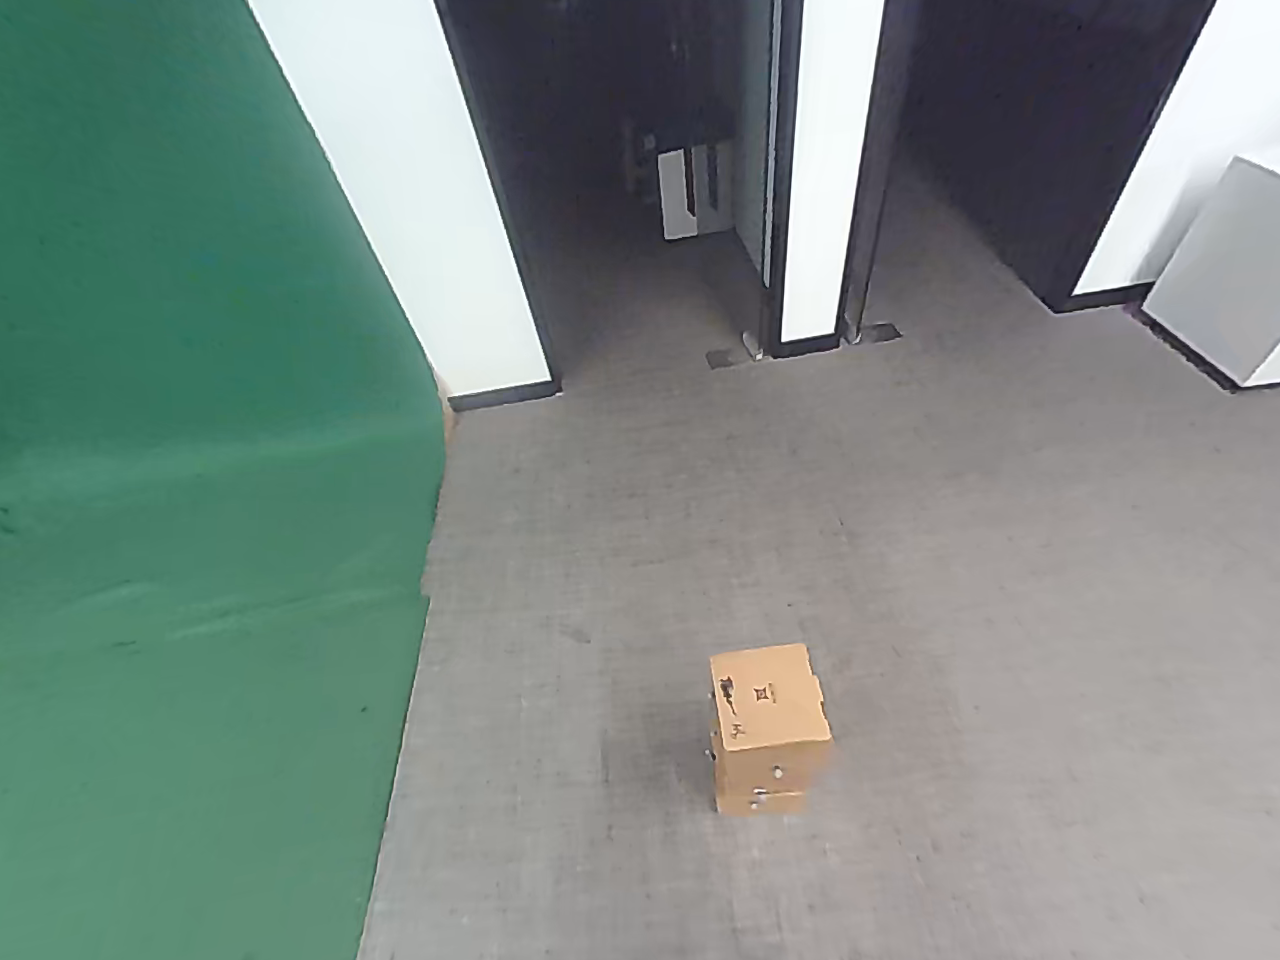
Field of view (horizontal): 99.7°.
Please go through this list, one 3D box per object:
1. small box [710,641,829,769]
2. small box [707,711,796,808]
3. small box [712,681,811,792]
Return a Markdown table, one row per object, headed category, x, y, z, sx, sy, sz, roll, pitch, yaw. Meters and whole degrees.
| category | x | y | z | sx | sy | sz | roll | pitch | yaw |
| --- | --- | --- | --- | --- | --- | --- | --- | --- | --- |
| small box | 0.228 | 0.414 | 0.990 | 0.179 | 0.176 | 0.168 | -8 | 47 | 4 |
| small box | 0.251 | 0.633 | 1.230 | 0.179 | 0.176 | 0.168 | -6 | 48 | 4 |
| small box | 0.242 | 0.521 | 1.114 | 0.168 | 0.176 | 0.179 | -9 | 48 | 4 |
